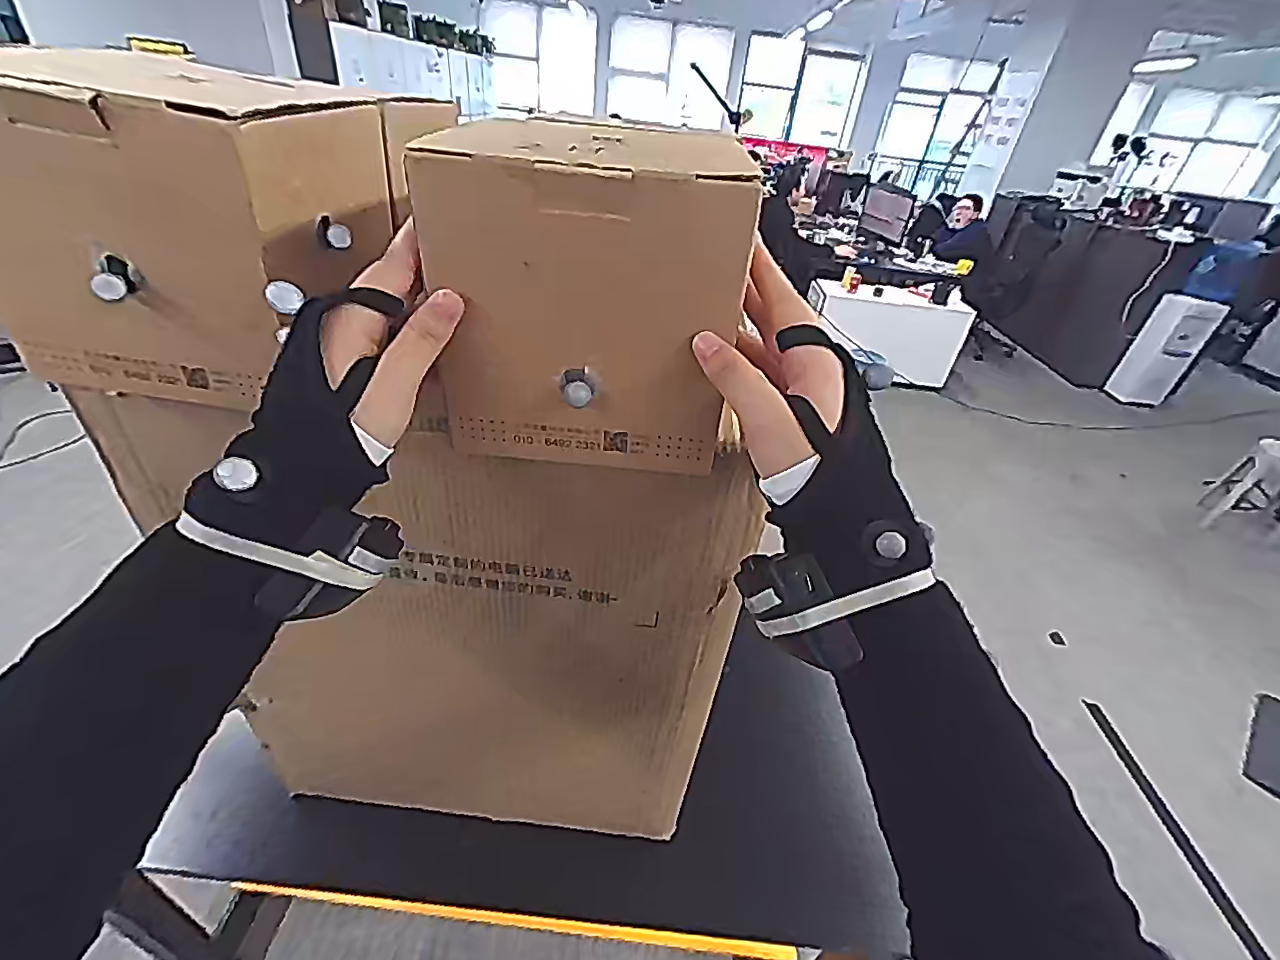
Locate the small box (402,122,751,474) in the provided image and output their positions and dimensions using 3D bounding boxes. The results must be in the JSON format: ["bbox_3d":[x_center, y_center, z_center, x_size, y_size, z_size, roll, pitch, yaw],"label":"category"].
[{"bbox_3d":[-0.030,-0.126,0.360,0.168,0.176,0.179,4,38,1],"label":"small box"}]

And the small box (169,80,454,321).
[{"bbox_3d":[-0.284,-0.269,0.525,0.168,0.176,0.179,6,34,-1],"label":"small box"}]
